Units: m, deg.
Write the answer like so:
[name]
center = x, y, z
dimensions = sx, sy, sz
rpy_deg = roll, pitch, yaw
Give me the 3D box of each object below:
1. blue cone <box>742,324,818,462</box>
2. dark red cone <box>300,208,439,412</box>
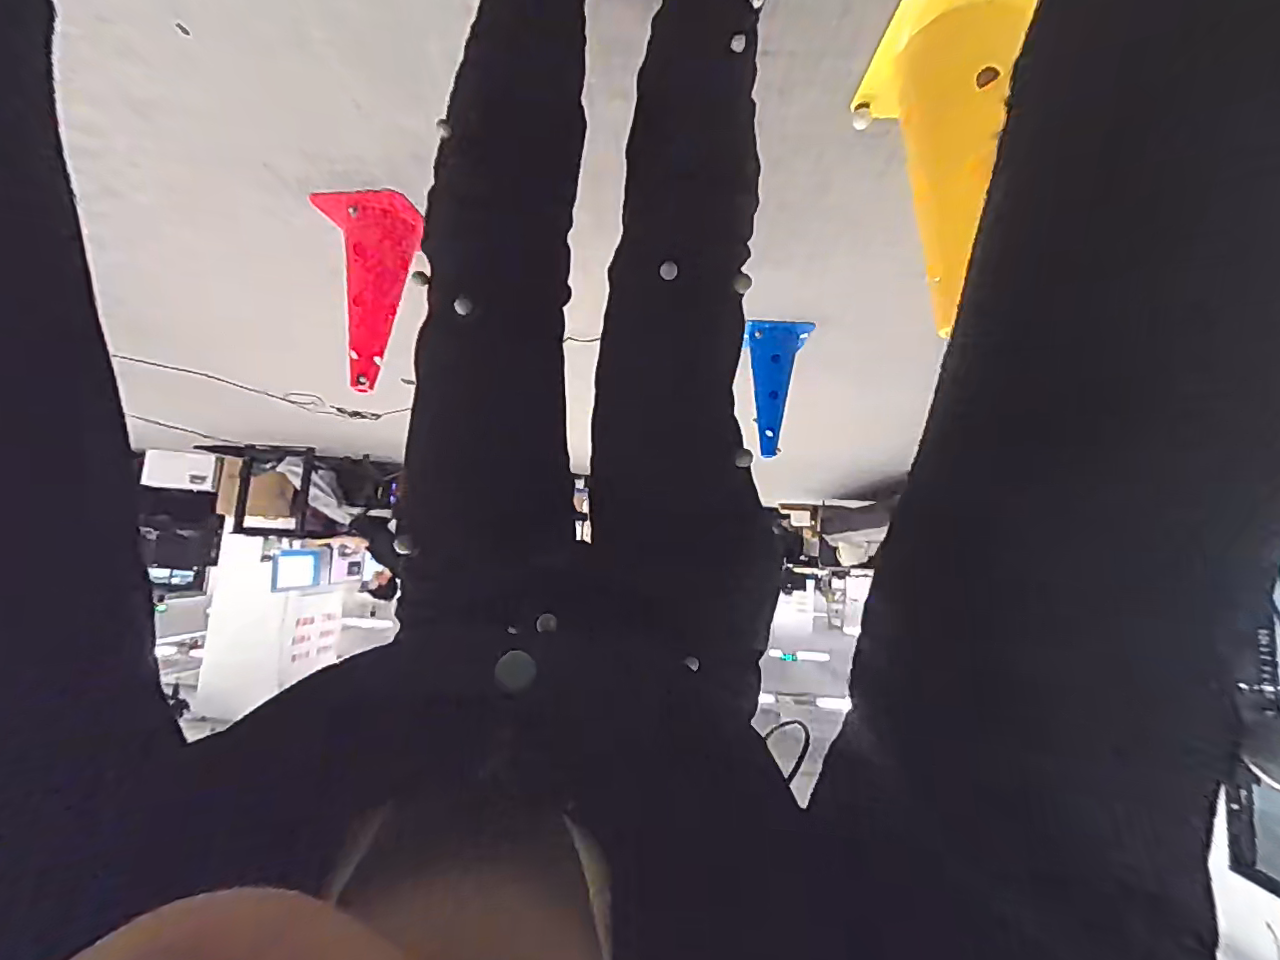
[blue cone]
center = 0.382, -0.241, 1.514
dimensions = 0.192, 0.380, 0.193
rpy_deg = 3, 173, 3
[dark red cone]
center = -0.553, -0.325, 1.070
dimensions = 0.202, 0.394, 0.201
rpy_deg = 3, 170, 11
